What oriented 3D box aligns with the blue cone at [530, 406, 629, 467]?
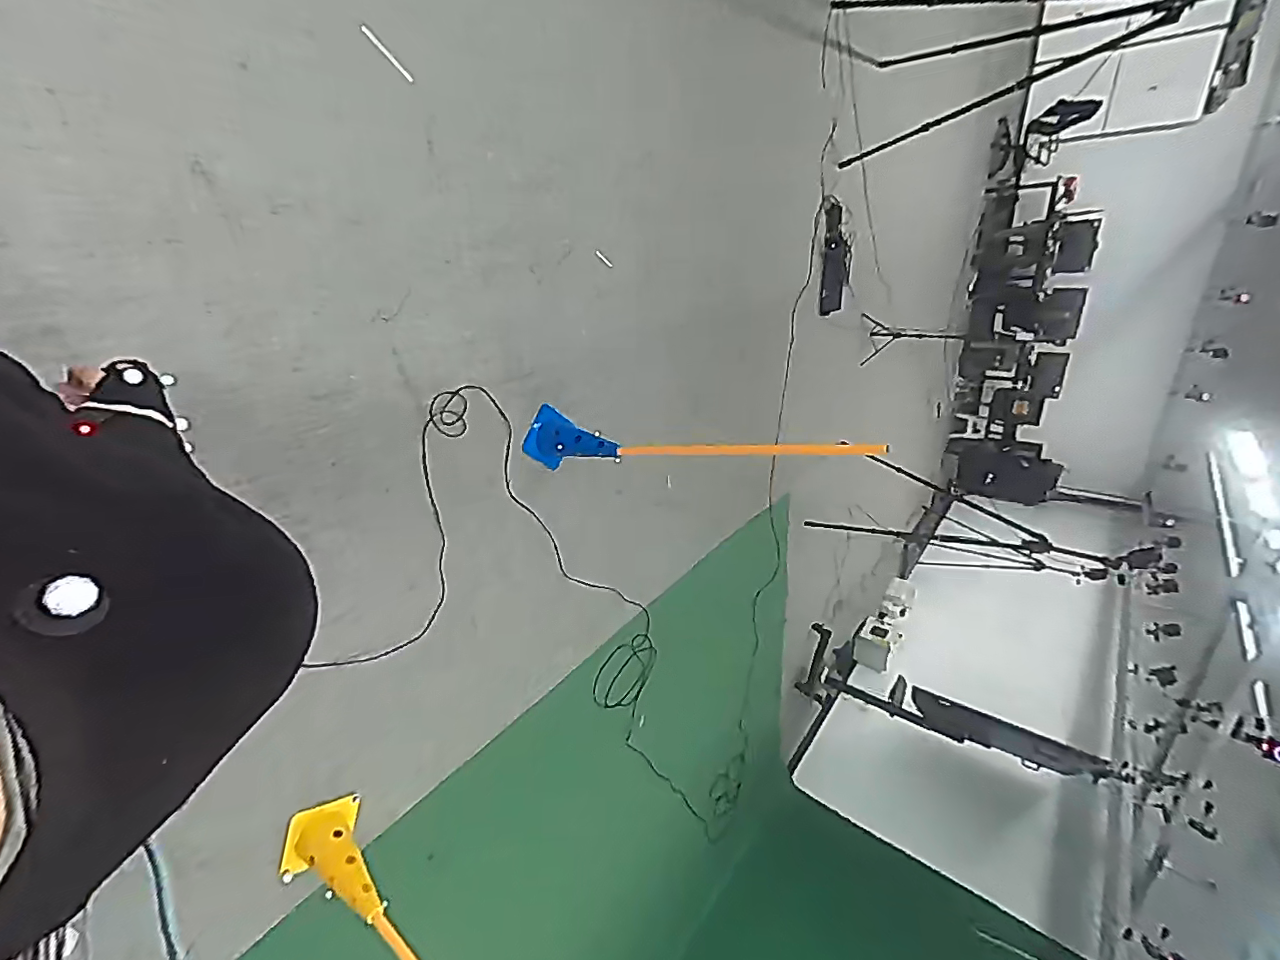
[{"bbox_3d":[-0.197,-0.135,1.913,0.192,0.380,0.193,34,73,-50],"label":"blue cone"}]
